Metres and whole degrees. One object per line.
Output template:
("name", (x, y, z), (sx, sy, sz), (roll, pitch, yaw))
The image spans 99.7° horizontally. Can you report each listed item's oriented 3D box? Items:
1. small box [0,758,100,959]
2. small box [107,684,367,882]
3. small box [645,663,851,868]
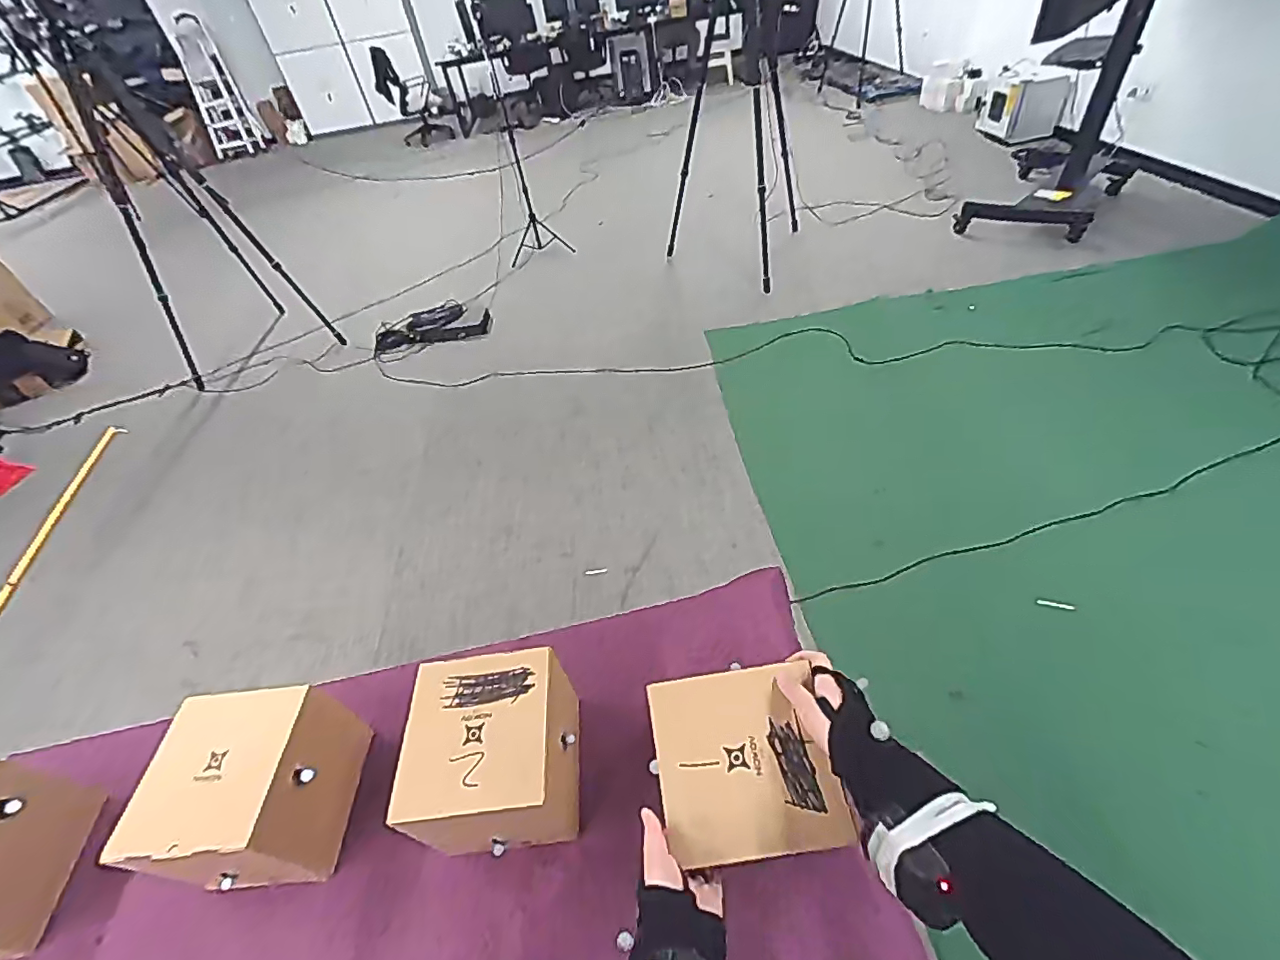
("small box", (-0.831, 0.470, 0.655), (0.168, 0.176, 0.179), (-13, 45, -1))
("small box", (-0.475, 0.380, 0.678), (0.168, 0.176, 0.179), (-7, 46, 4))
("small box", (0.108, 0.308, 0.601), (0.179, 0.176, 0.168), (-10, 62, 3))
